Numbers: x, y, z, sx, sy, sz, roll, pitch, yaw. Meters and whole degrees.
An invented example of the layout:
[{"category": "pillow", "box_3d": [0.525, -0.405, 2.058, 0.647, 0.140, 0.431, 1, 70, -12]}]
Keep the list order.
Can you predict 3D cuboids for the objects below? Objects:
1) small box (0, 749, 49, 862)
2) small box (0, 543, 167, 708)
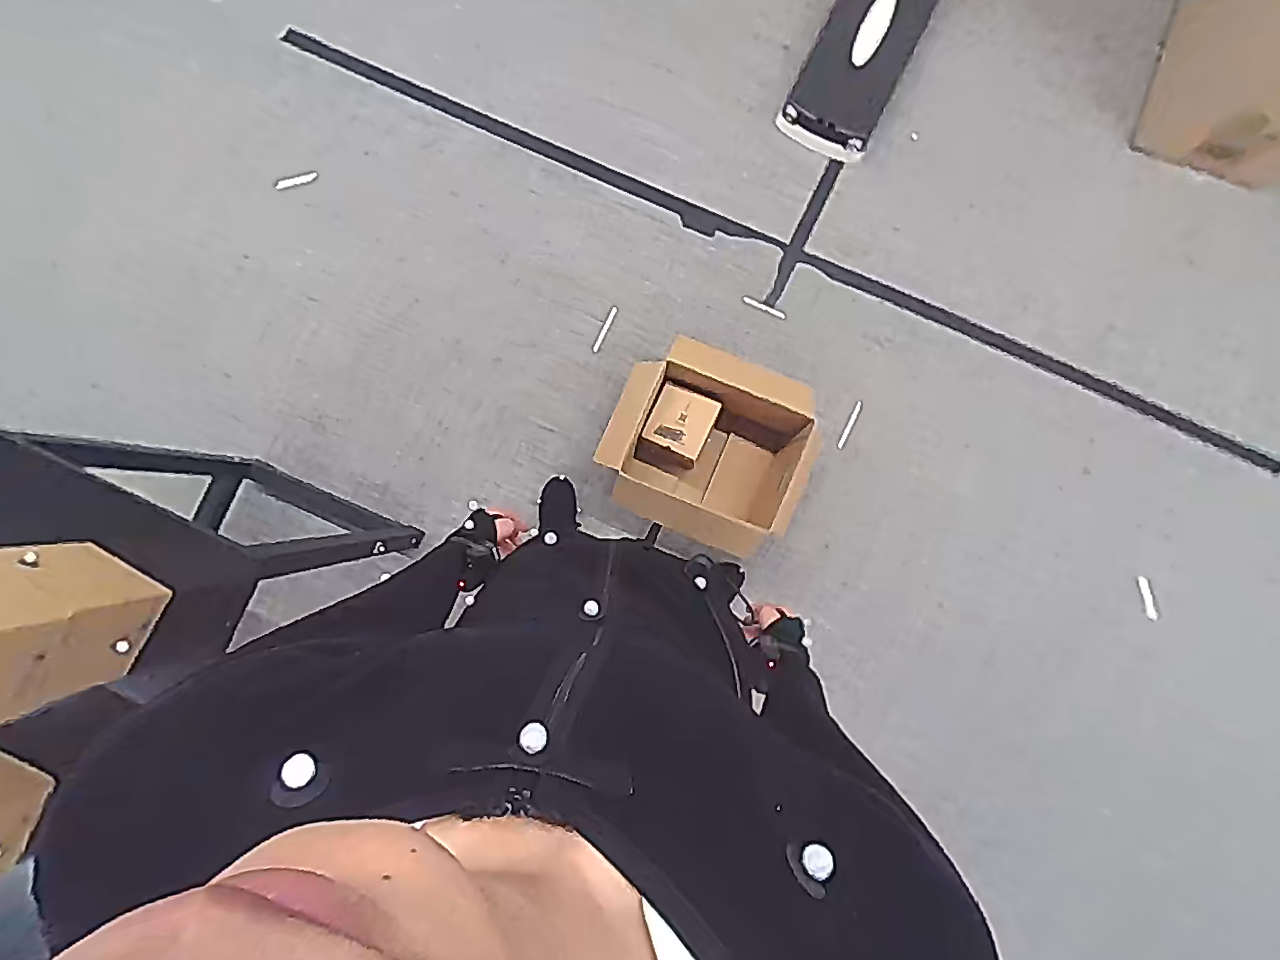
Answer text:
[{"category": "small box", "box_3d": [-1.096, 0.526, 0.824, 0.179, 0.176, 0.168, 25, 88, 1]}, {"category": "small box", "box_3d": [-0.904, 0.207, 0.829, 0.179, 0.176, 0.168, 30, 90, 2]}]
